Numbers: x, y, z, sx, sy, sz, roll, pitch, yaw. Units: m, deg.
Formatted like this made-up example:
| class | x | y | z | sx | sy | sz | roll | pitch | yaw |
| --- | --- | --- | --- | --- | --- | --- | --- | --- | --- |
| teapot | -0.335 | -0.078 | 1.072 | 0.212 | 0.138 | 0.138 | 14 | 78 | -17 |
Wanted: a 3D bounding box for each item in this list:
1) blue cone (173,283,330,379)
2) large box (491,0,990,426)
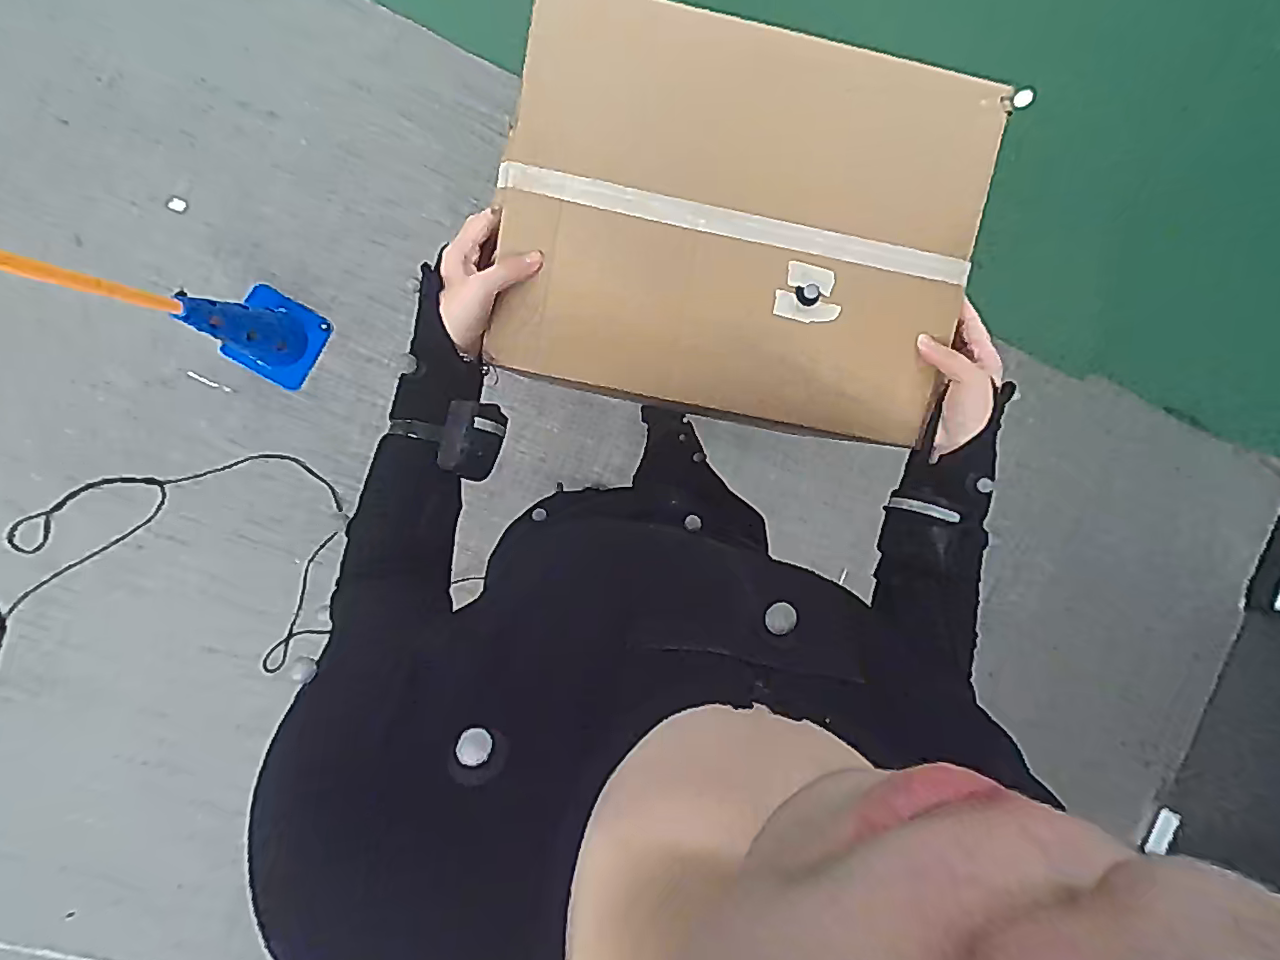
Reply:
| class | x | y | z | sx | sy | sz | roll | pitch | yaw |
| --- | --- | --- | --- | --- | --- | --- | --- | --- | --- |
| blue cone | -0.858 | -0.345 | 1.159 | 0.193 | 0.380 | 0.192 | 32 | 89 | -10 |
| large box | 0.076 | -0.246 | 0.617 | 0.408 | 0.320 | 0.320 | 10 | 97 | -5 |
